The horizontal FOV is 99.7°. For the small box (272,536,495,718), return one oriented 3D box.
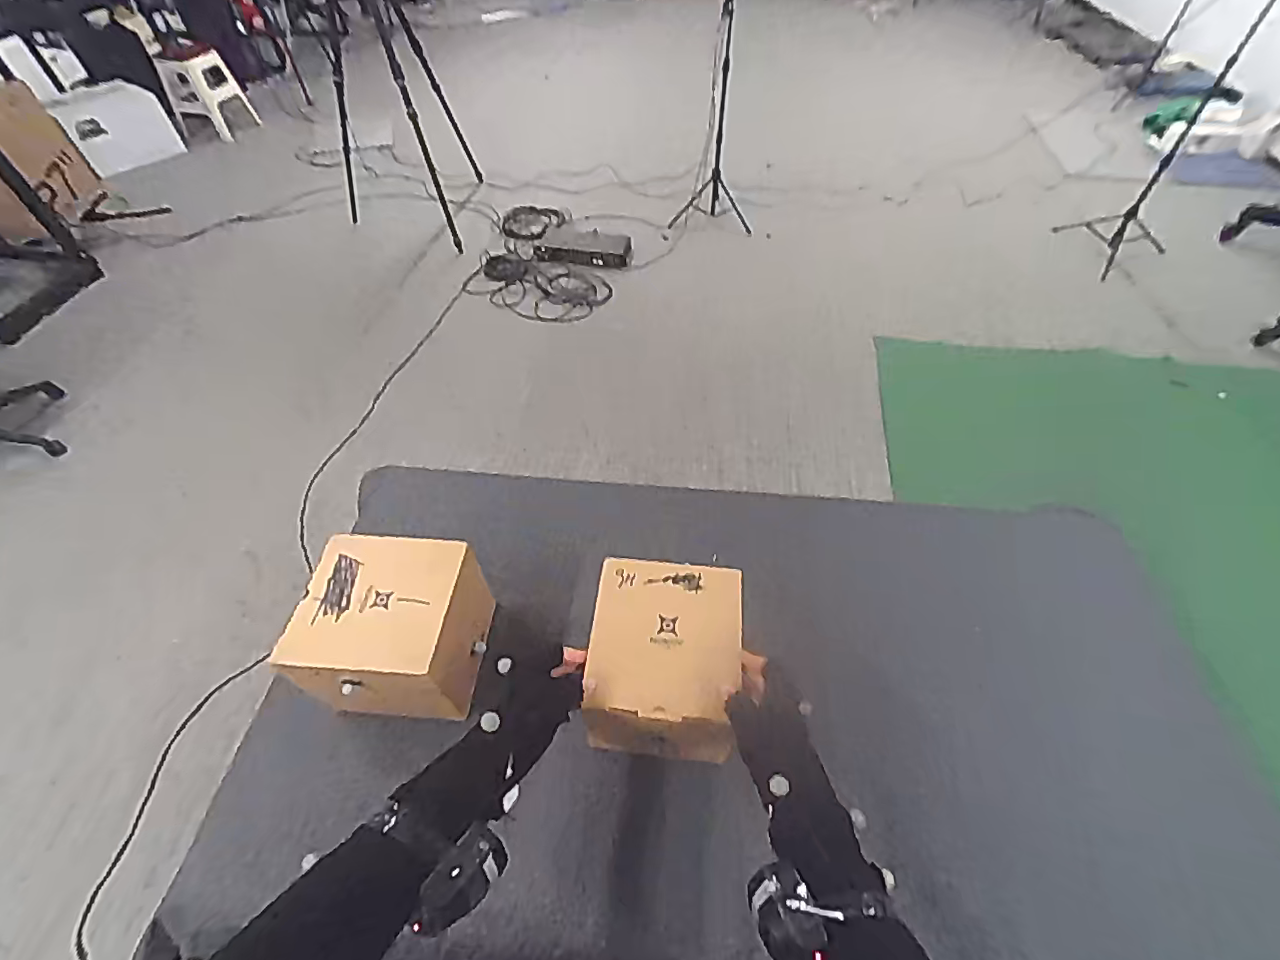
[{"bbox_3d":[-0.300,0.187,0.680,0.179,0.176,0.168,4,51,2],"label":"small box"}]

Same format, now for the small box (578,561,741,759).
[{"bbox_3d":[0.029,0.221,0.652,0.168,0.176,0.179,5,52,5],"label":"small box"}]
